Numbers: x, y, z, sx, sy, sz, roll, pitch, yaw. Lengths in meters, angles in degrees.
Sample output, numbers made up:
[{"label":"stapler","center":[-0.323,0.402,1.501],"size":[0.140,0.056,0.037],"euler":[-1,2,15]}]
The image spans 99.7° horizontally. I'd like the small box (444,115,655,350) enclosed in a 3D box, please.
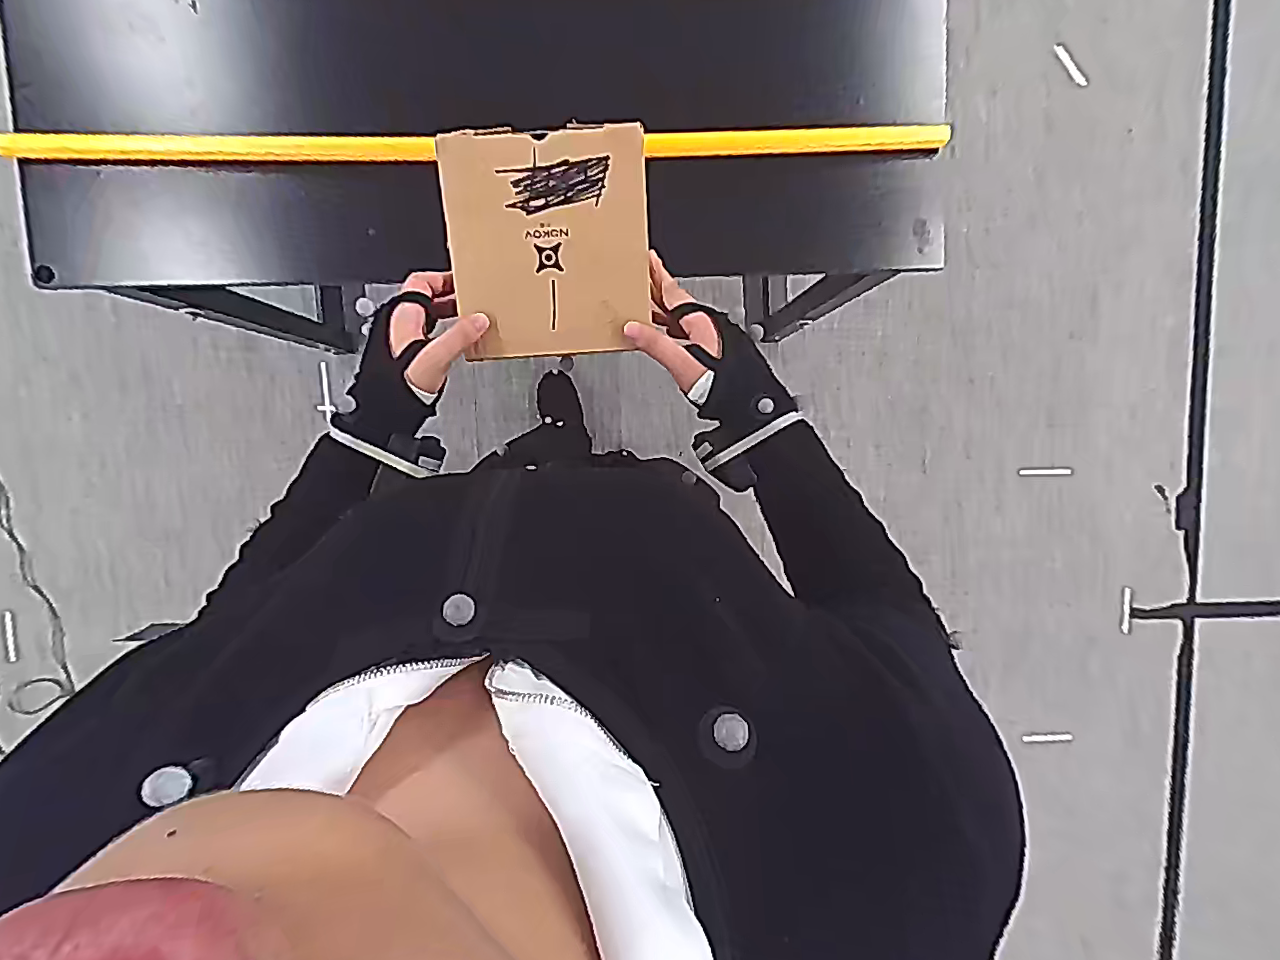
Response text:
[{"label":"small box","center":[-0.074,-0.221,0.526],"size":[0.168,0.176,0.179],"euler":[-3,104,-1]}]
